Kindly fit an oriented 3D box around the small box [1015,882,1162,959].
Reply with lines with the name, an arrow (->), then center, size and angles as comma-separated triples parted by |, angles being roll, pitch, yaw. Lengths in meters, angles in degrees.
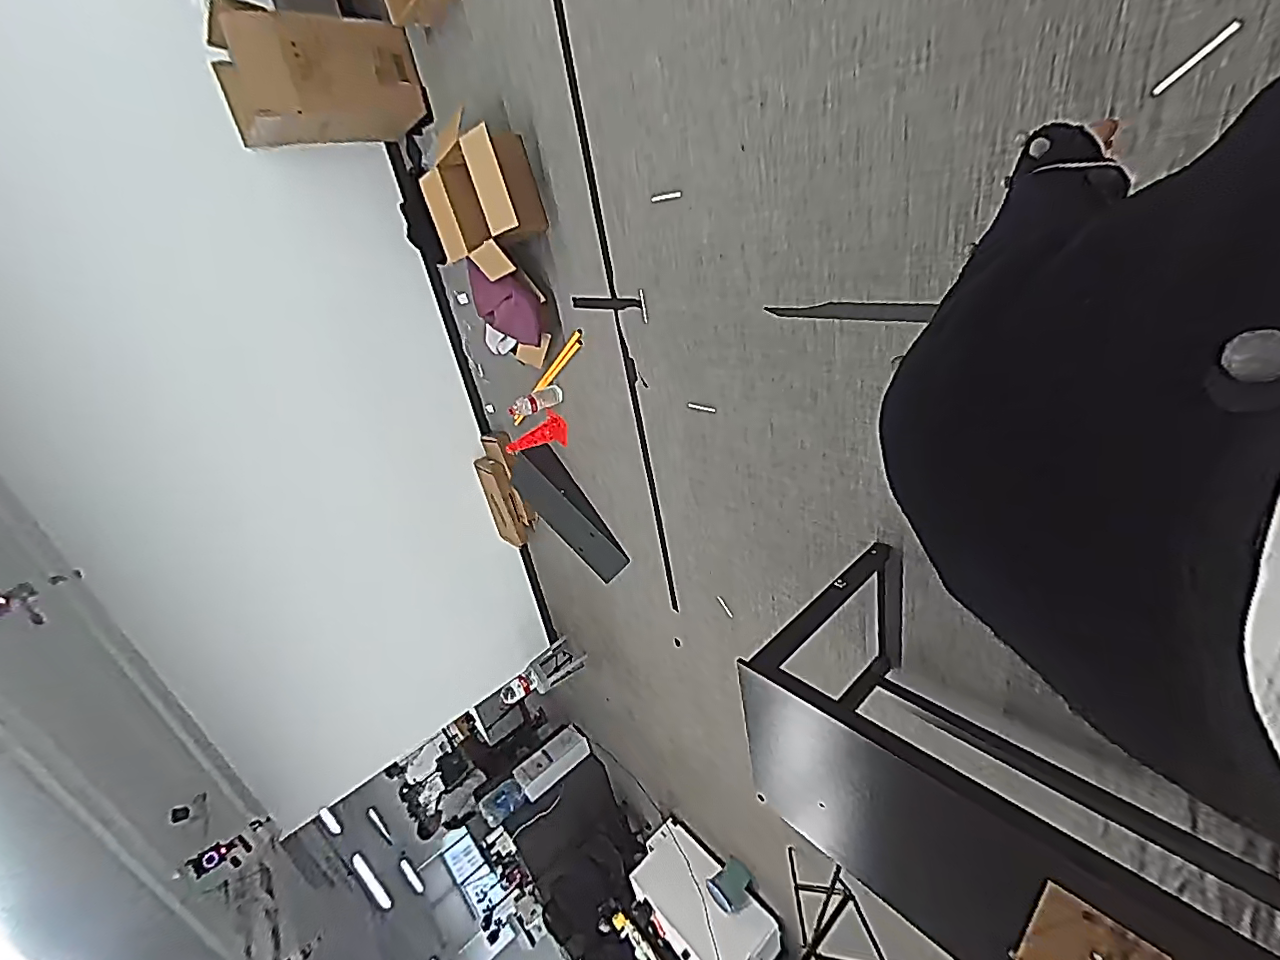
small box -> 0.755, 0.849, 0.923 | 0.168, 0.176, 0.179 | 20, 130, 48
